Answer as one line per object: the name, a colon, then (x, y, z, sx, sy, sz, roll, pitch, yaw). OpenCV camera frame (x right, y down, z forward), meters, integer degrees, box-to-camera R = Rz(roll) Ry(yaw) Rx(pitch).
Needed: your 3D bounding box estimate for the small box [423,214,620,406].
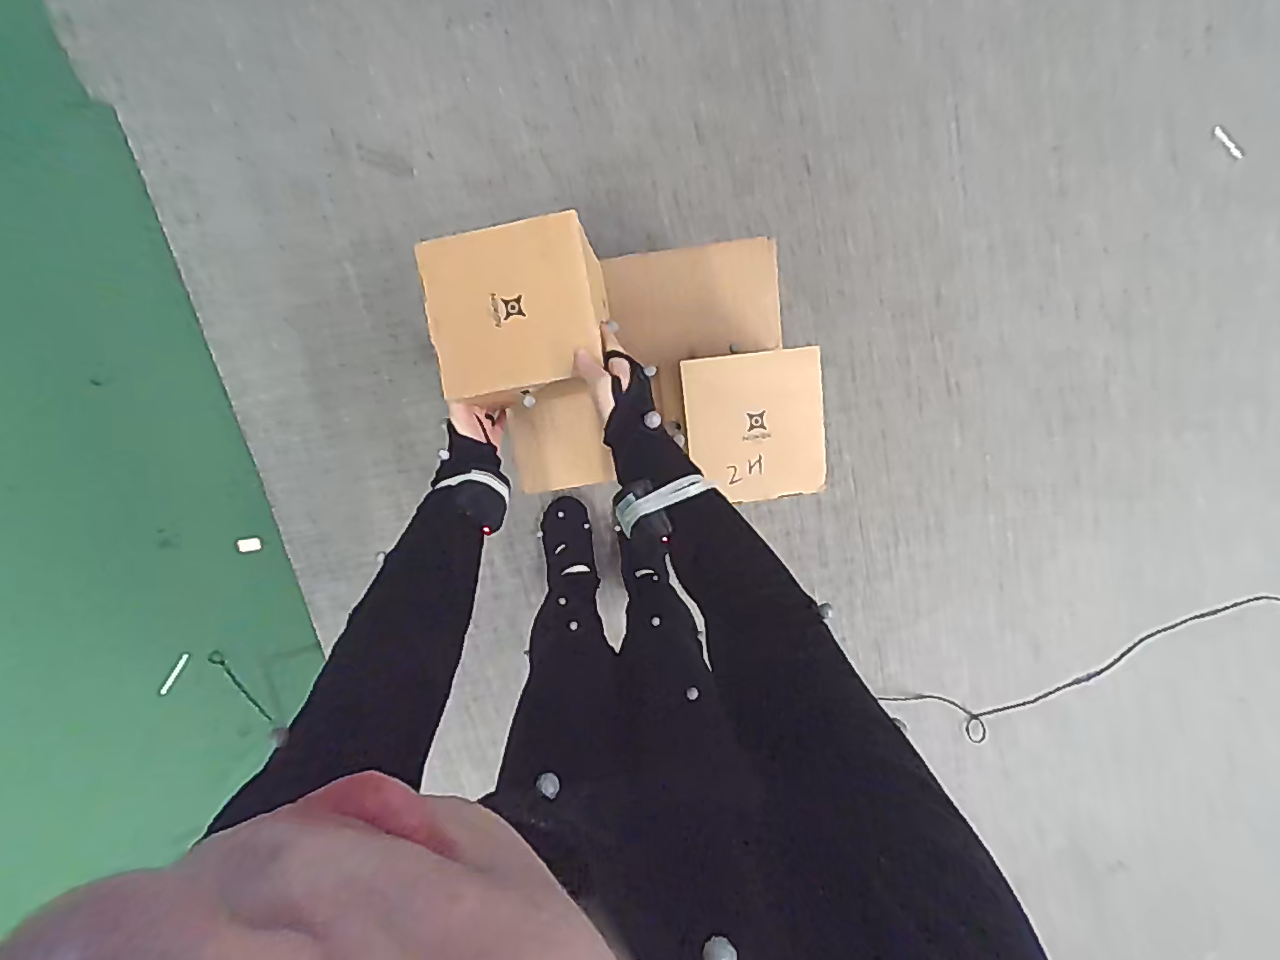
small box: (-0.123, -0.184, 0.639, 0.179, 0.176, 0.168, -9, 93, 6)

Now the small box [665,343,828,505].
small box: (0.128, -0.077, 0.705, 0.168, 0.176, 0.179, -7, 101, -4)
